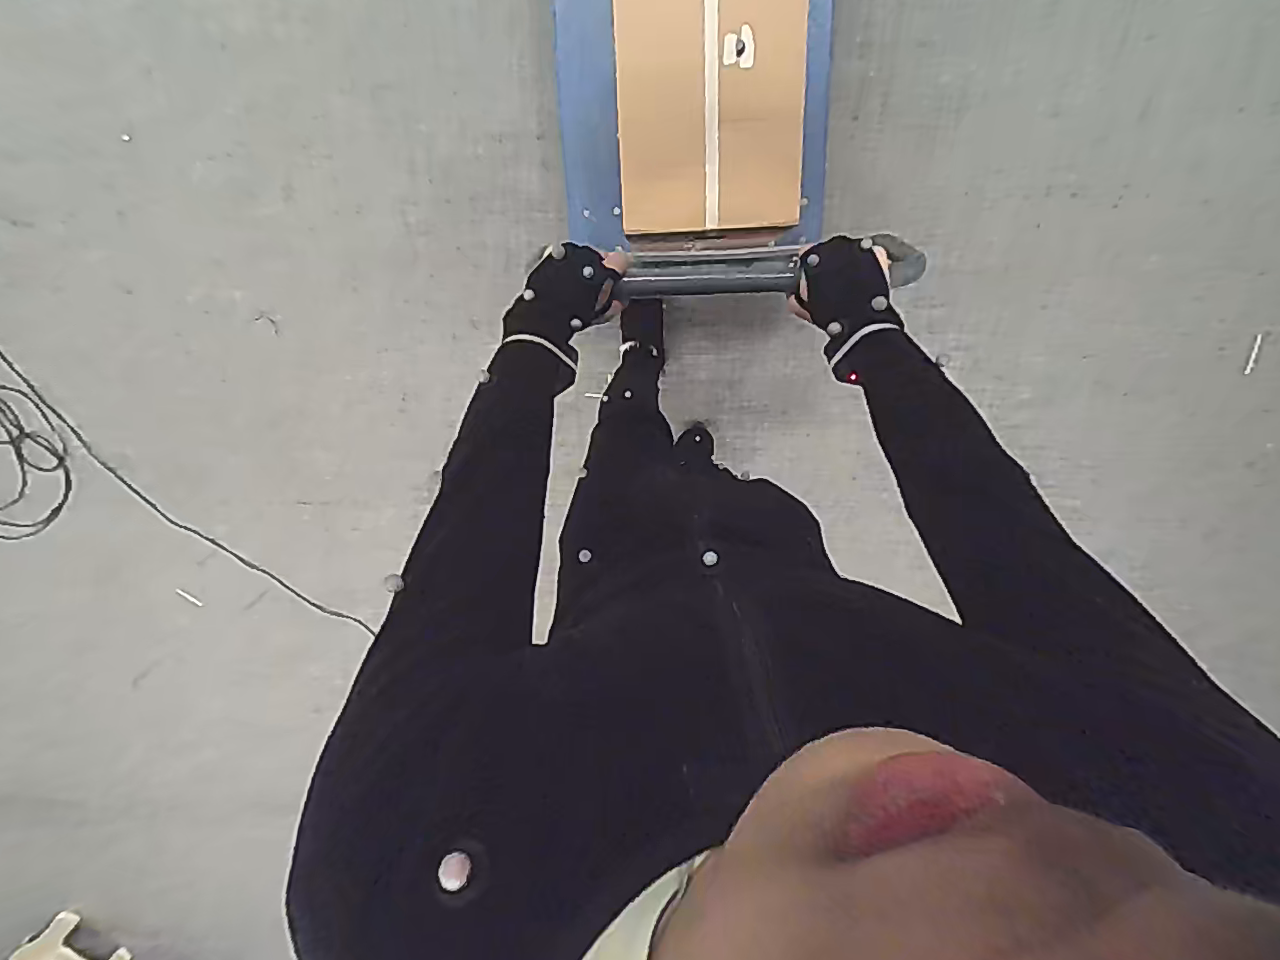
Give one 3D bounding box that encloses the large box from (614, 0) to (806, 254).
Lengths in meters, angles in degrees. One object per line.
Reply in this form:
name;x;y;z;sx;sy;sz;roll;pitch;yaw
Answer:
large box;0.128;-0.678;1.050;0.320;0.320;0.408;-1;107;3
